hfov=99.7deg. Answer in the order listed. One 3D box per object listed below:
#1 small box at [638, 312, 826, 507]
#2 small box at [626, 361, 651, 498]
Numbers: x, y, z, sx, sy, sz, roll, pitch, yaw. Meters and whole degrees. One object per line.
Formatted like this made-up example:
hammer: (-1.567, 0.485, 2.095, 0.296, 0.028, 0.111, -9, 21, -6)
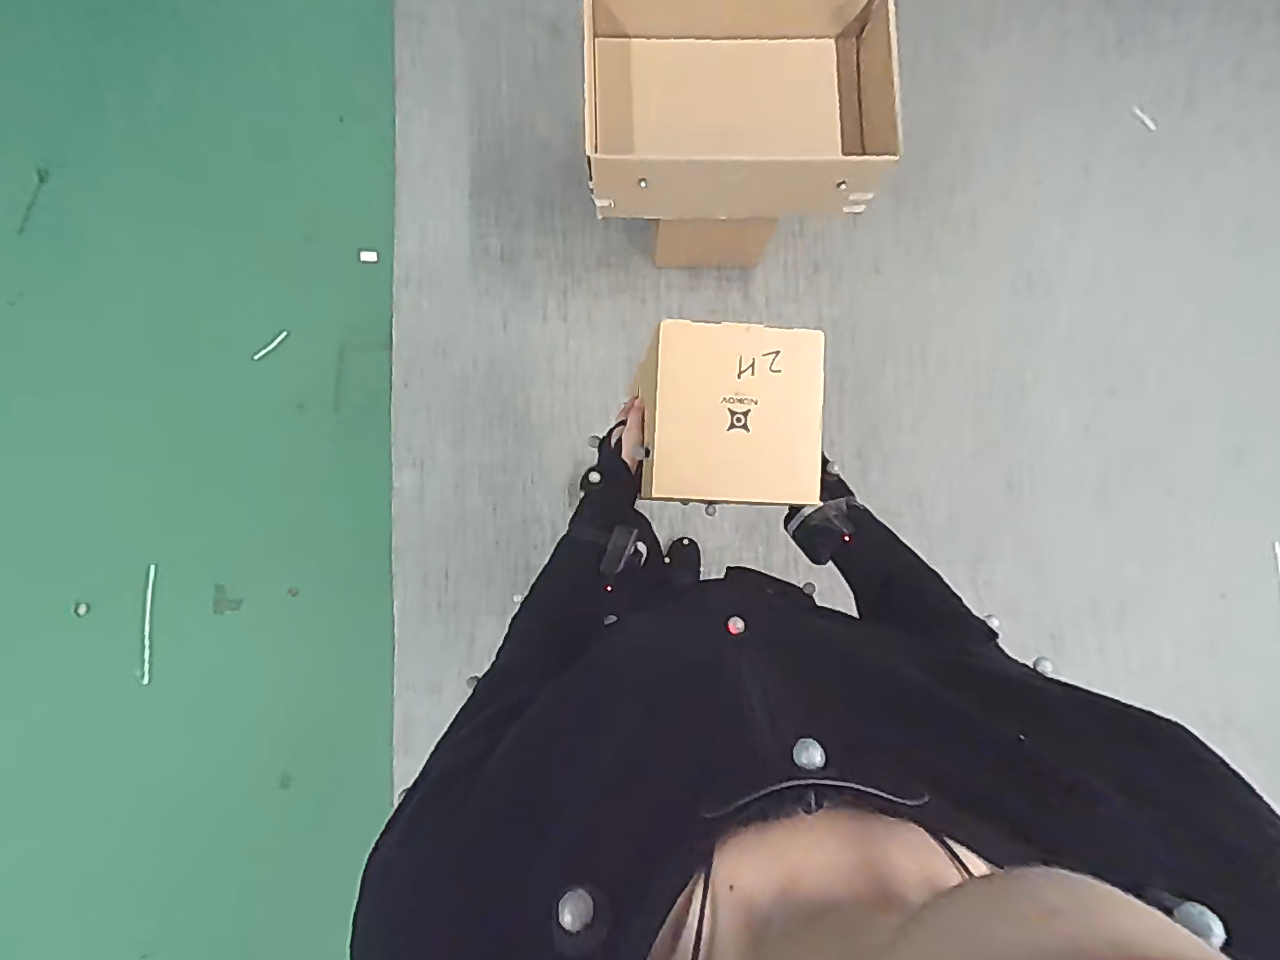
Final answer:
small box: (0.087, -0.062, 0.587, 0.168, 0.176, 0.179, 3, 85, -4)
small box: (0.073, -0.057, 0.753, 0.179, 0.176, 0.168, 4, 86, -5)
